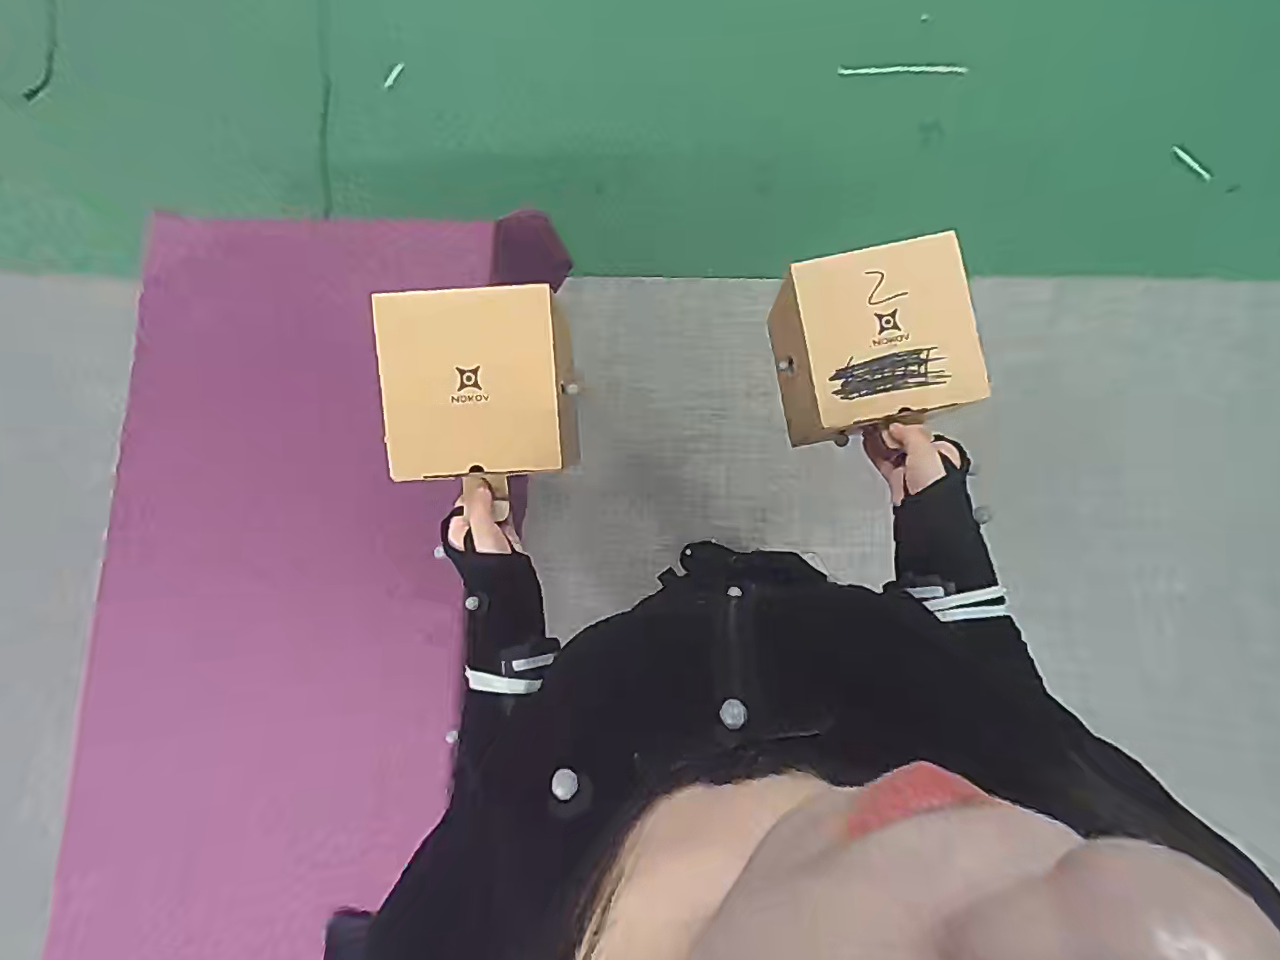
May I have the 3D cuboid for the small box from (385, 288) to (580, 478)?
[{"bbox_3d":[-0.154,-0.097,0.585,0.168,0.176,0.179,-2,96,-1],"label":"small box"}]
